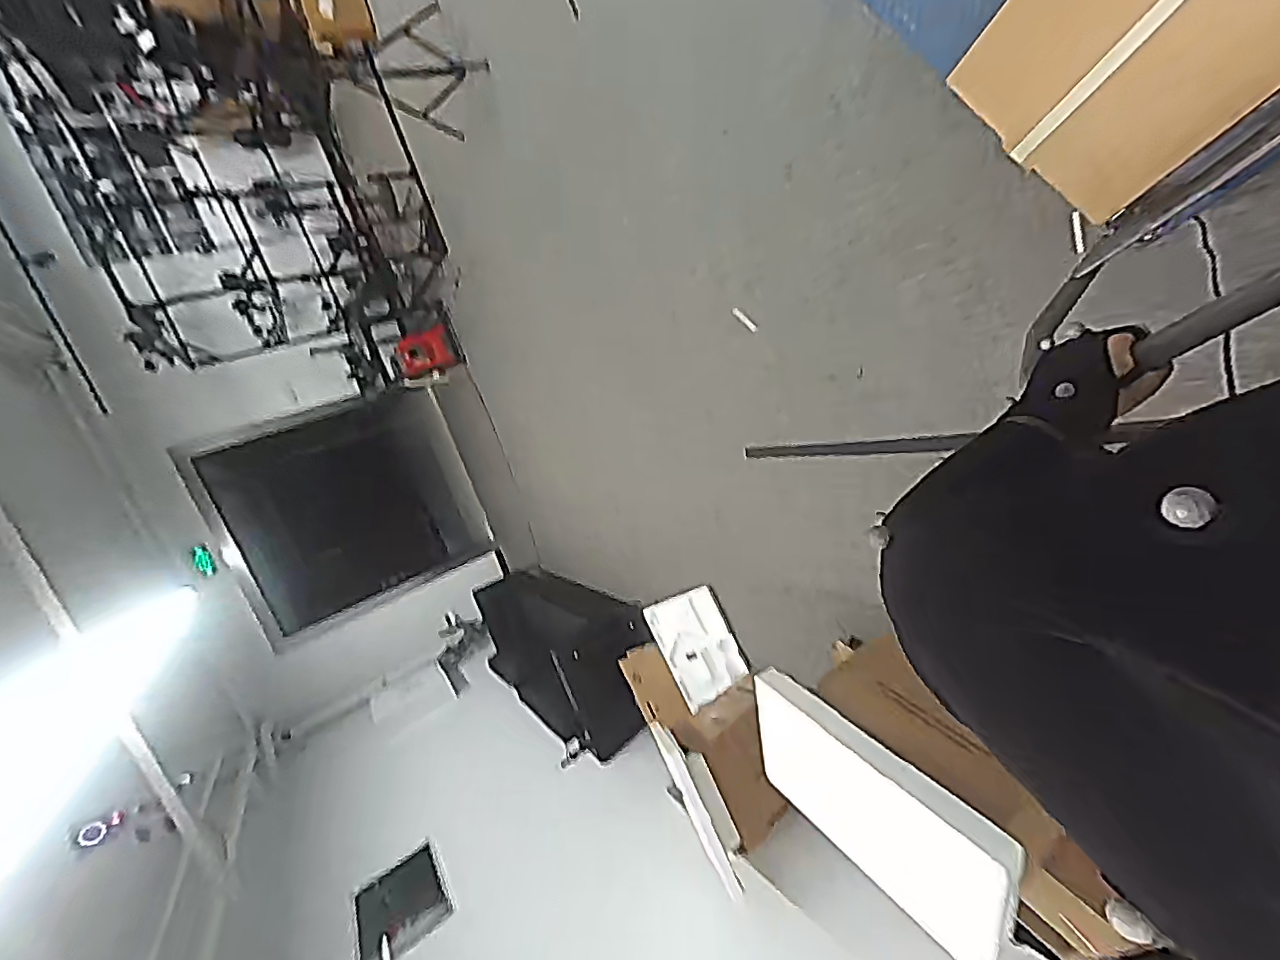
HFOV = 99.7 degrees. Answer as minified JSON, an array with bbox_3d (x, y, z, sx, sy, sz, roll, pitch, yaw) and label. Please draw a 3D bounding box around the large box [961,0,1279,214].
[{"bbox_3d":[0.728,-0.637,0.680,0.320,0.320,0.408,50,150,8],"label":"large box"}]
